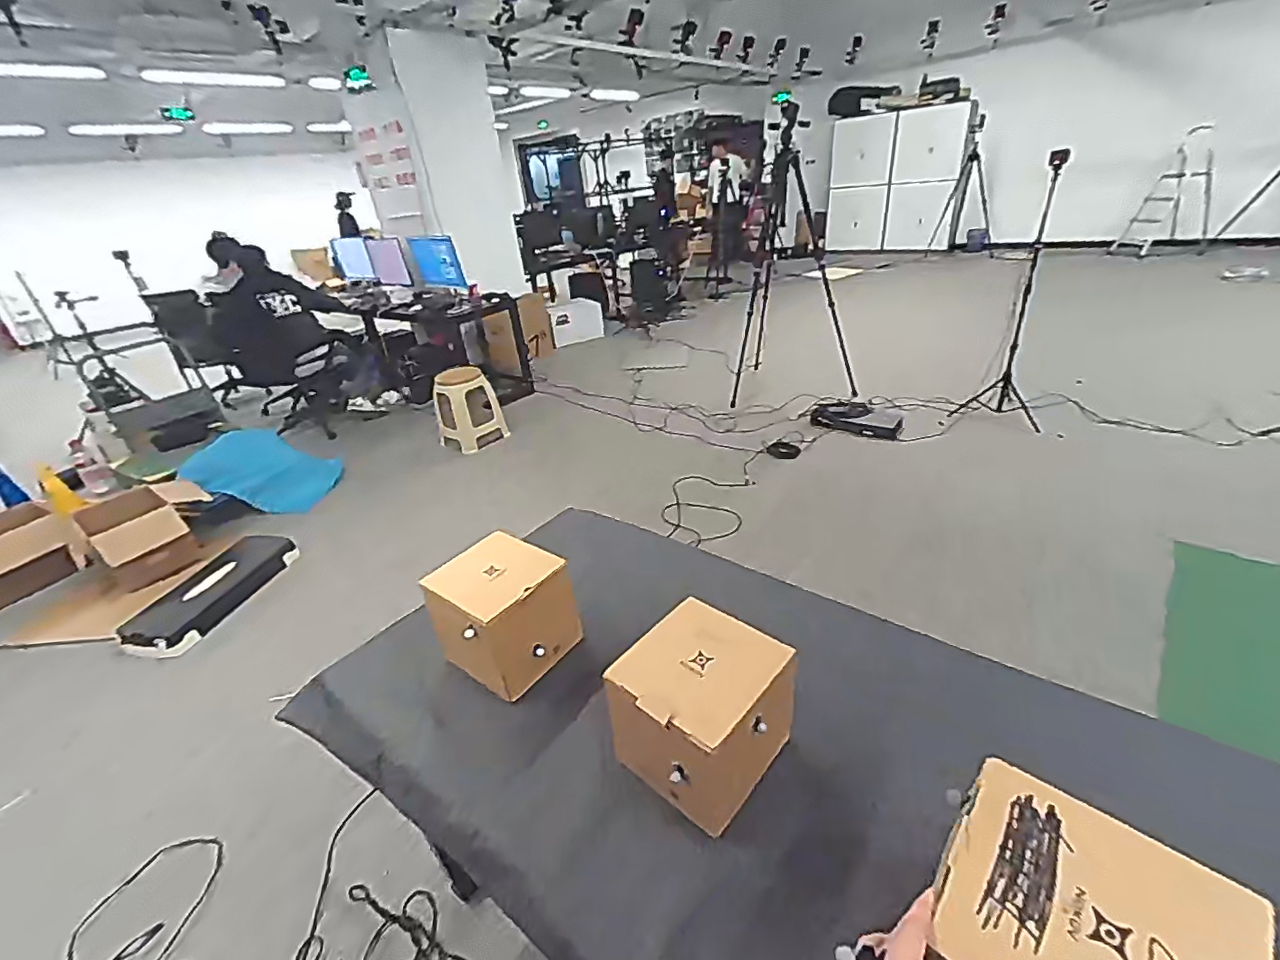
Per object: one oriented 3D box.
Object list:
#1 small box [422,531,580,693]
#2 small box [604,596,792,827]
[{"bbox_3d":[-0.222,0.213,0.890,0.179,0.176,0.168,16,36,34],"label":"small box"},{"bbox_3d":[0.079,0.289,0.693,0.168,0.176,0.179,21,38,38],"label":"small box"}]
